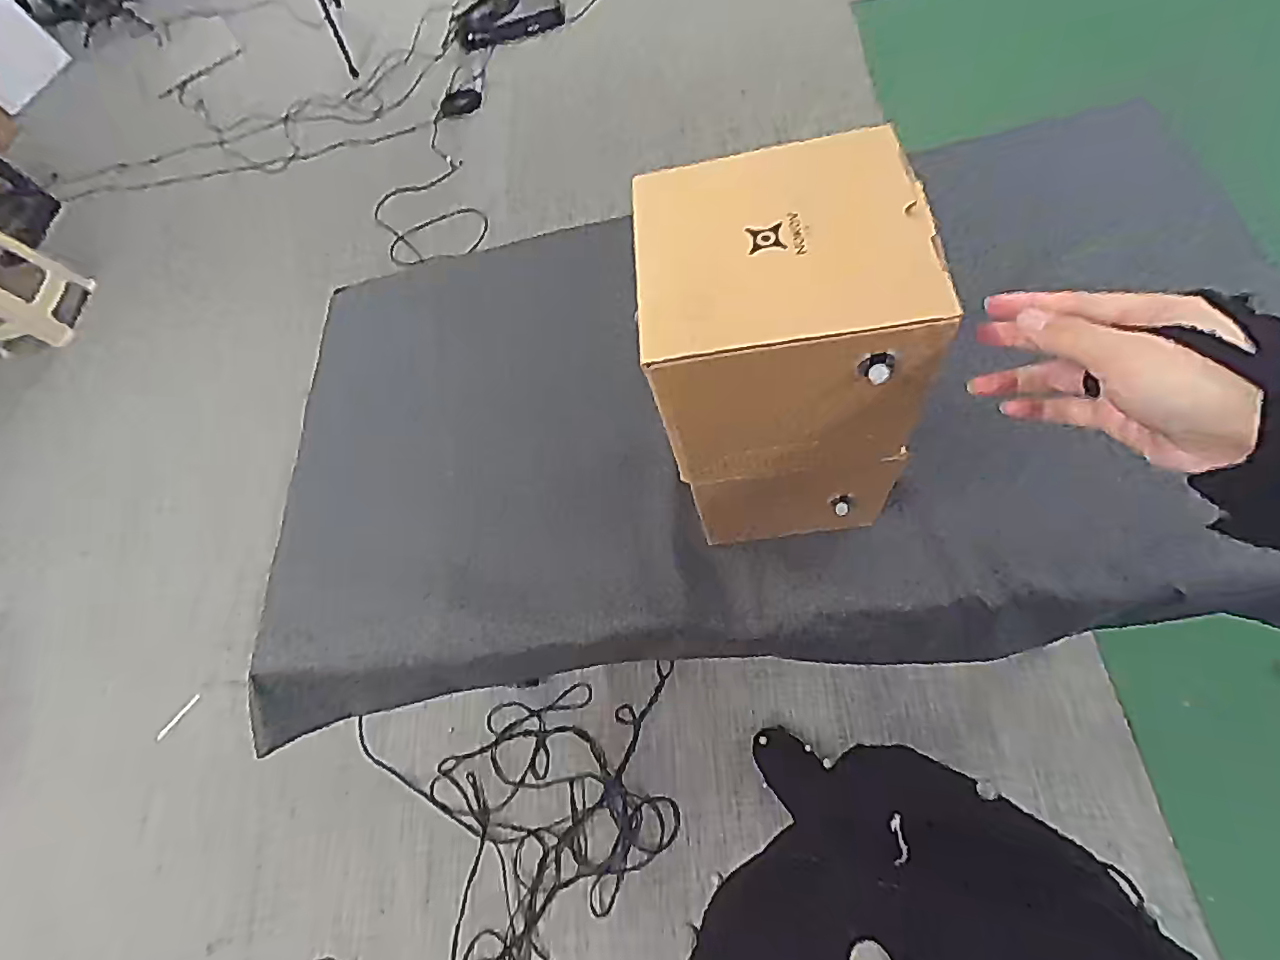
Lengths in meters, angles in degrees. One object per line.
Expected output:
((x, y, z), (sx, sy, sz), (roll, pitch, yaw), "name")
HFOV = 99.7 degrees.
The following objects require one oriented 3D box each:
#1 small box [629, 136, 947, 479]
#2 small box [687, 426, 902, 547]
((0.095, -0.112, 0.408), (0.179, 0.176, 0.168), (-7, 63, 9), "small box")
((0.137, -0.042, 0.549), (0.179, 0.176, 0.168), (-9, 63, 10), "small box")
